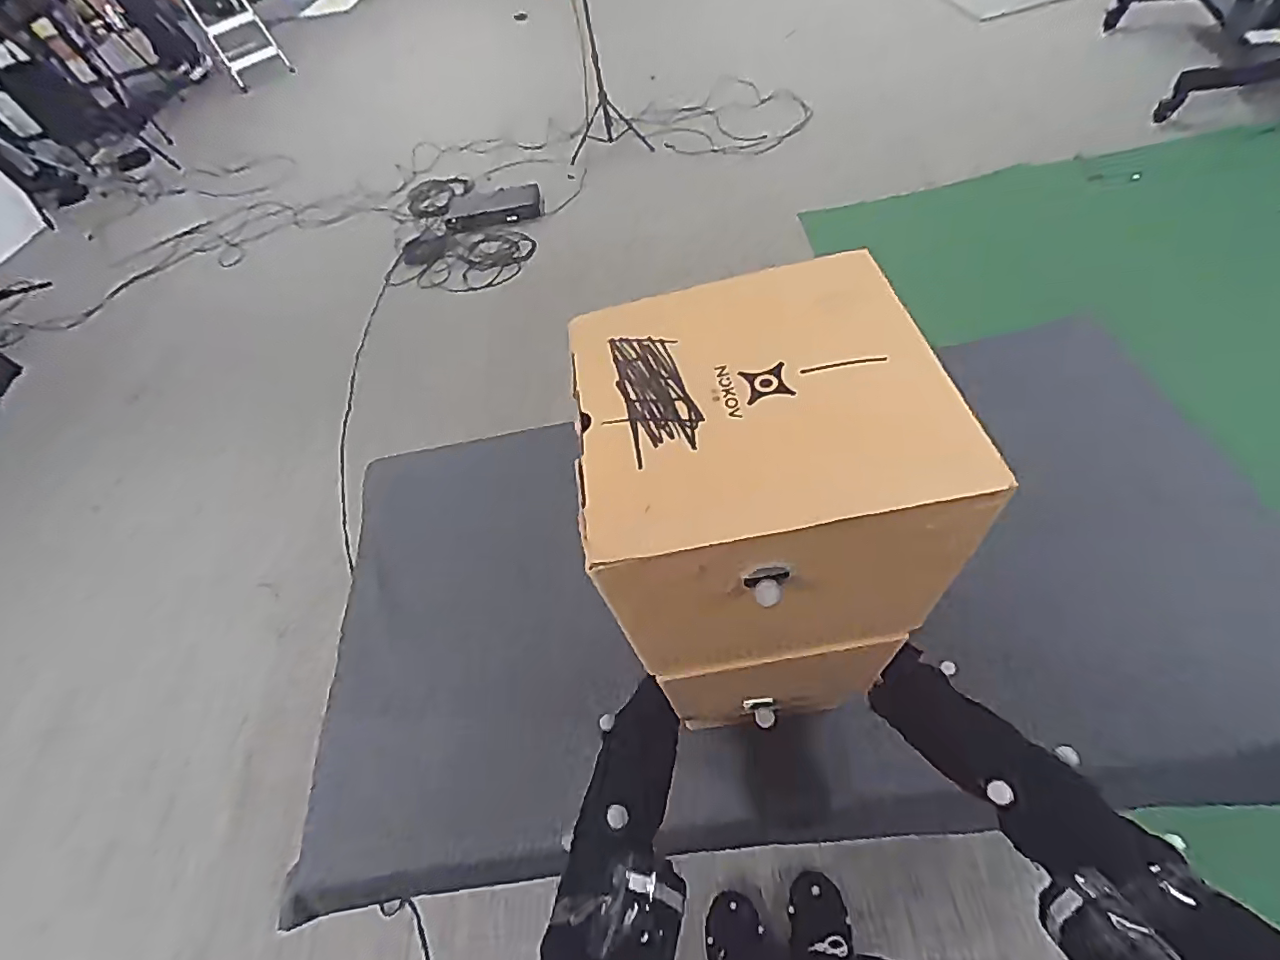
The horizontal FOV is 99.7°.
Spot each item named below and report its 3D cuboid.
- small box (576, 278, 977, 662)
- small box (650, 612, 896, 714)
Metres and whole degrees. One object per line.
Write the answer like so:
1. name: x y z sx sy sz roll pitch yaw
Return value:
1. small box: 0.067 0.006 0.348 0.179 0.176 0.168 -11 56 4
2. small box: 0.091 0.086 0.469 0.168 0.176 0.179 -11 56 4
